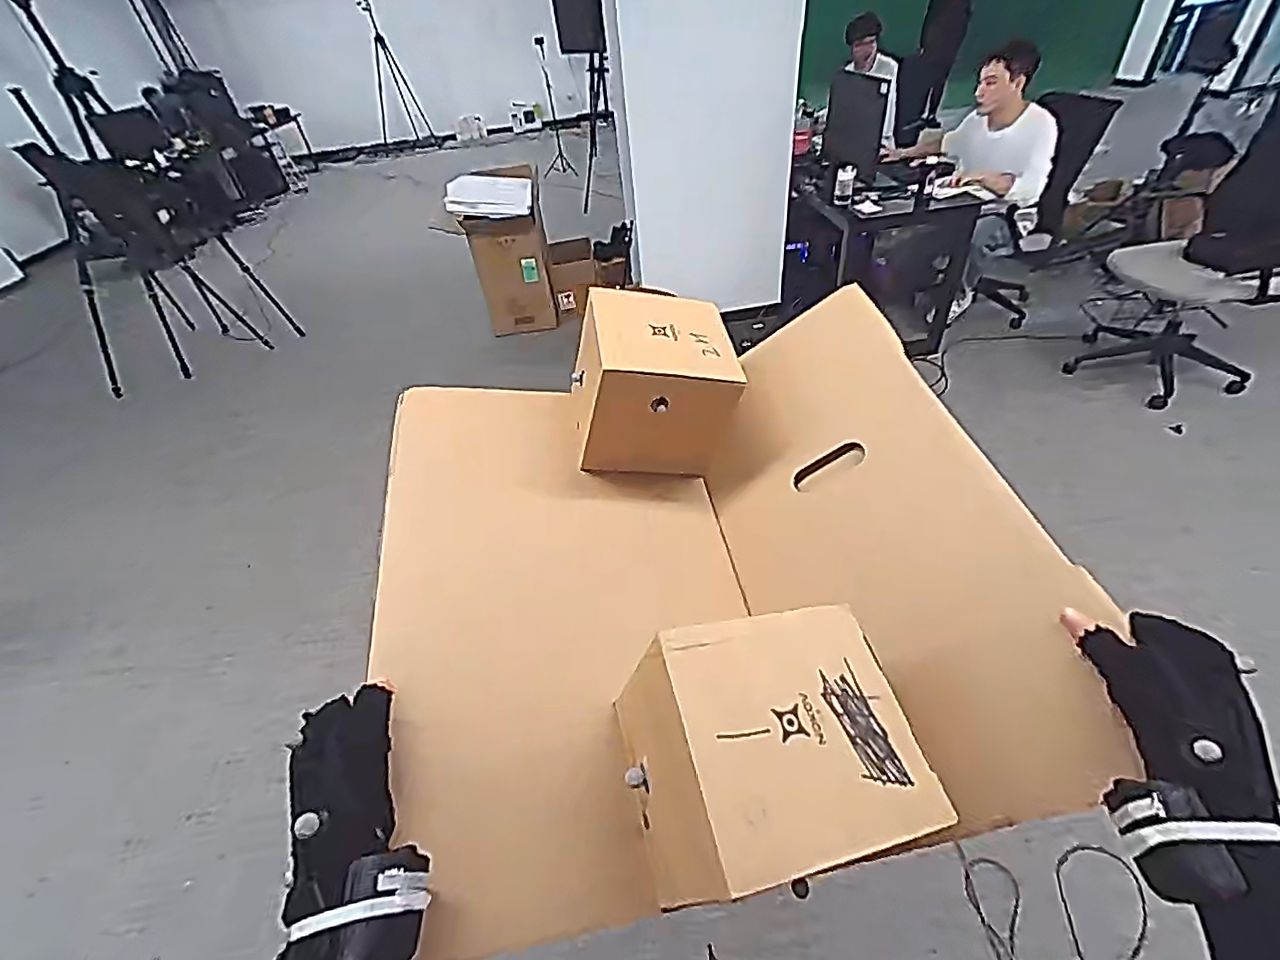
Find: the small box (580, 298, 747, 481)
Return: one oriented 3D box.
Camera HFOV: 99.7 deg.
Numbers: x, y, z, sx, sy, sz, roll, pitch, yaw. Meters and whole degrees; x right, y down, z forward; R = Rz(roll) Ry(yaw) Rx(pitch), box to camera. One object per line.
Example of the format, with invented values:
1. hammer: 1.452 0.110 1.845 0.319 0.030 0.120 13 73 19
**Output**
1. small box: 0.016 -0.114 0.718 0.179 0.176 0.168 3 49 -15
